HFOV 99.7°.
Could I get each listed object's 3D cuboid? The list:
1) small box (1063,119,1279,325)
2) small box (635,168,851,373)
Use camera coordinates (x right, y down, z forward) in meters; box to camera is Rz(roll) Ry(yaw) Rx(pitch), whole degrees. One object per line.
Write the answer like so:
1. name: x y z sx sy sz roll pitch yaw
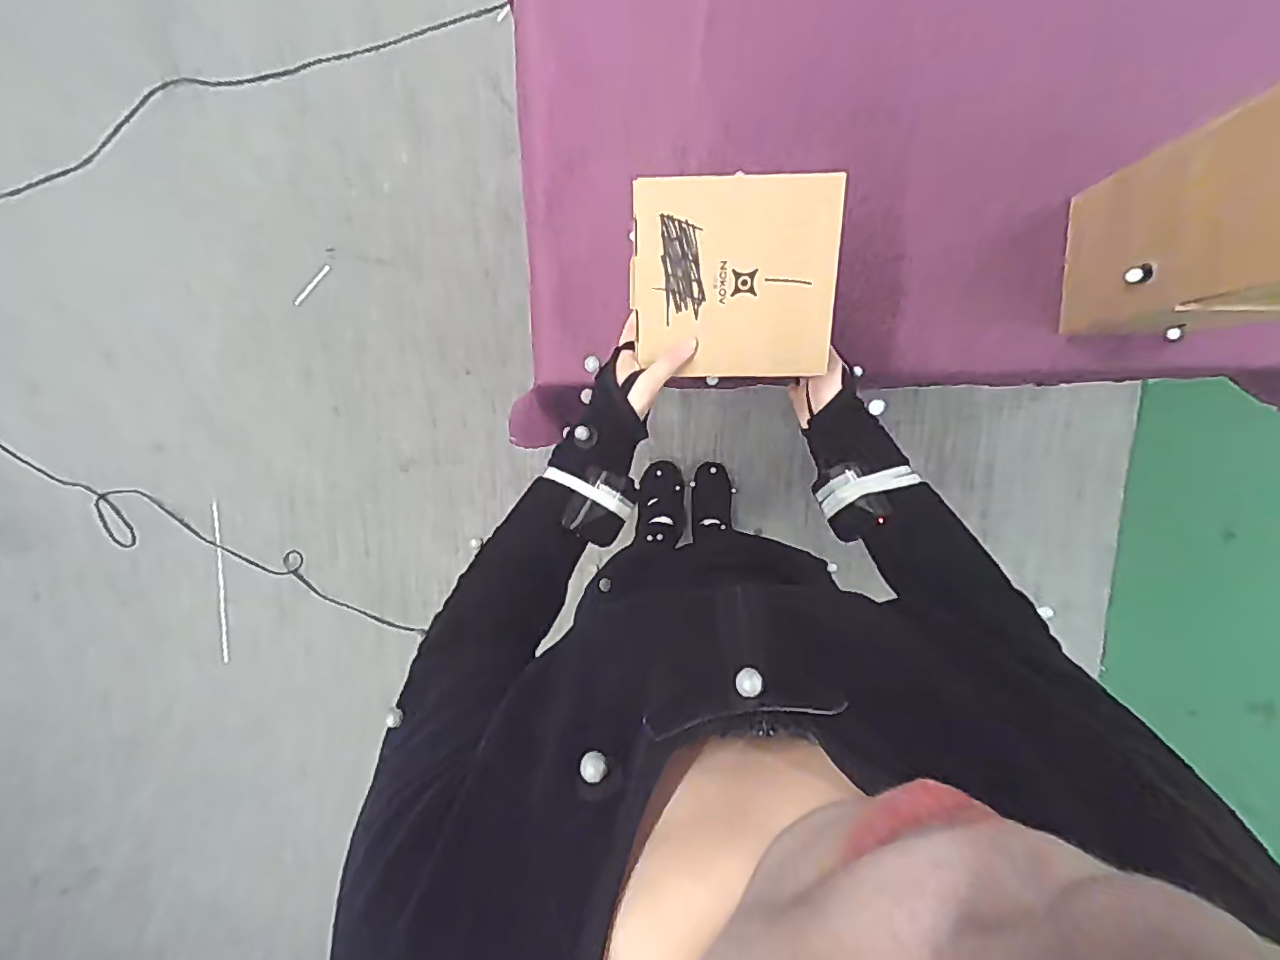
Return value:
1. small box: 0.625 -0.275 0.613 0.168 0.176 0.179 0 96 3
2. small box: 0.089 -0.201 0.539 0.179 0.176 0.168 0 110 3
